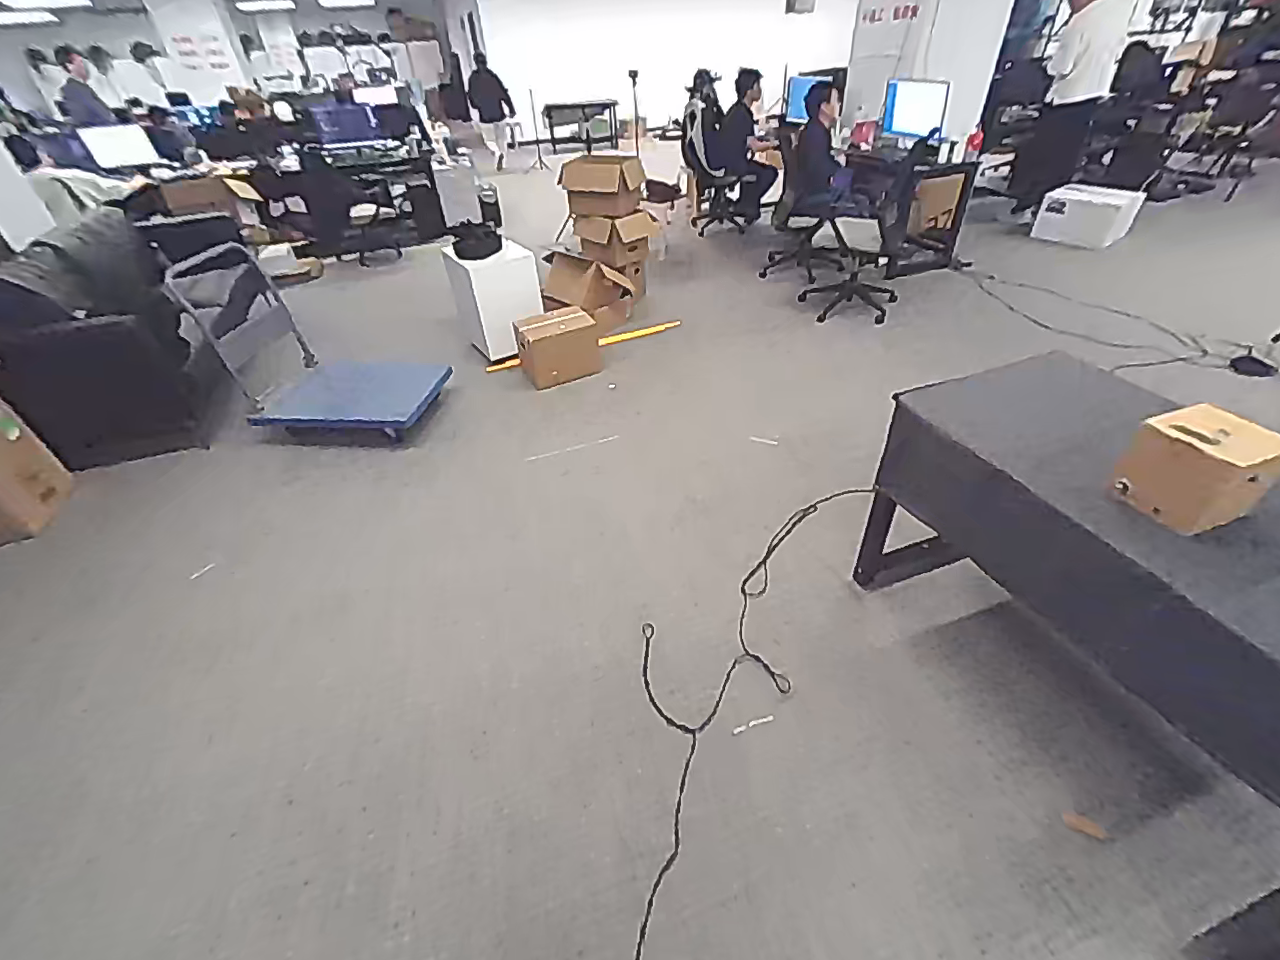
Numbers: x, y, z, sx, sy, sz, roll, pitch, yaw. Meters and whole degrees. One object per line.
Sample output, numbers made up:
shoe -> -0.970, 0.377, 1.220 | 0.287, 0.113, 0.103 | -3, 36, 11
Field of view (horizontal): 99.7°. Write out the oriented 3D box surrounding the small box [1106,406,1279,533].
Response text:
small box -> 1.069, -0.019, 1.054 | 0.179, 0.176, 0.168 | -14, 40, -14
